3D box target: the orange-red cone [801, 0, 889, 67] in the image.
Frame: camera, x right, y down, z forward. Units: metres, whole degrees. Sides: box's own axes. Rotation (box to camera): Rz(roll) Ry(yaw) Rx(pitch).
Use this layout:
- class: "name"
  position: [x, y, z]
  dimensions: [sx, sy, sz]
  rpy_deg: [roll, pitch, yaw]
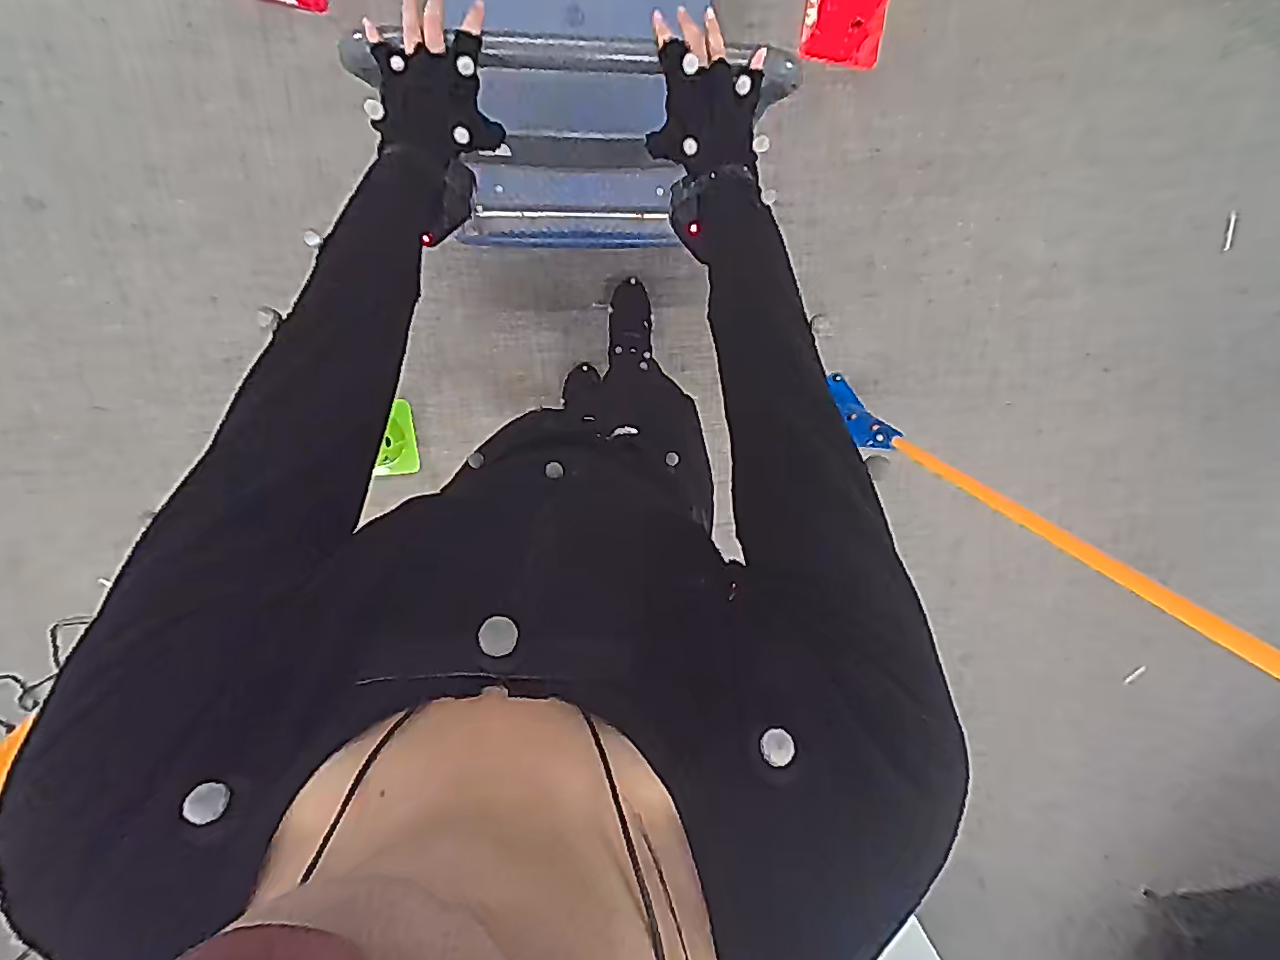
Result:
- class: "orange-red cone"
  position: [0.513, -1.084, 1.142]
  dimensions: [0.198, 0.360, 0.199]
  rpy_deg: [7, 103, -6]
